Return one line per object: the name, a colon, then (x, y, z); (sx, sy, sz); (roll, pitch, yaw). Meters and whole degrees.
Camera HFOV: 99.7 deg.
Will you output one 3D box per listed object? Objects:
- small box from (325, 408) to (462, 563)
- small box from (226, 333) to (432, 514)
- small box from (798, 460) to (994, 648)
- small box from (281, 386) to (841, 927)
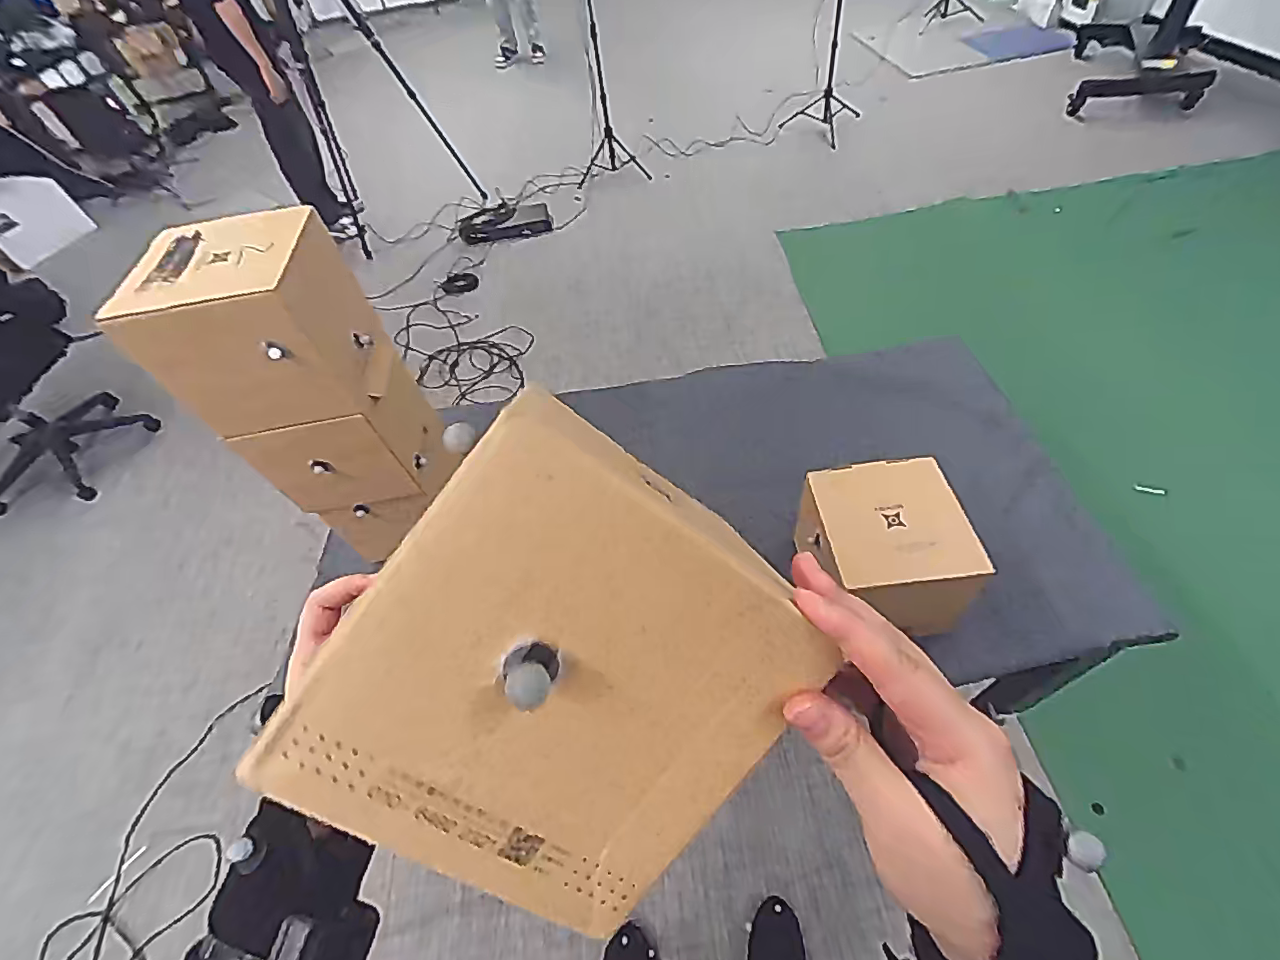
small box: (-0.392, 0.012, 0.893); (0.168, 0.176, 0.179); (-11, 52, -1)
small box: (-0.410, -0.074, 0.752); (0.179, 0.176, 0.168); (-11, 53, 1)
small box: (0.313, 0.100, 0.711); (0.168, 0.176, 0.179); (-8, 51, 4)
small box: (-0.043, 0.072, 0.282); (0.176, 0.168, 0.179); (-54, 16, 6)
